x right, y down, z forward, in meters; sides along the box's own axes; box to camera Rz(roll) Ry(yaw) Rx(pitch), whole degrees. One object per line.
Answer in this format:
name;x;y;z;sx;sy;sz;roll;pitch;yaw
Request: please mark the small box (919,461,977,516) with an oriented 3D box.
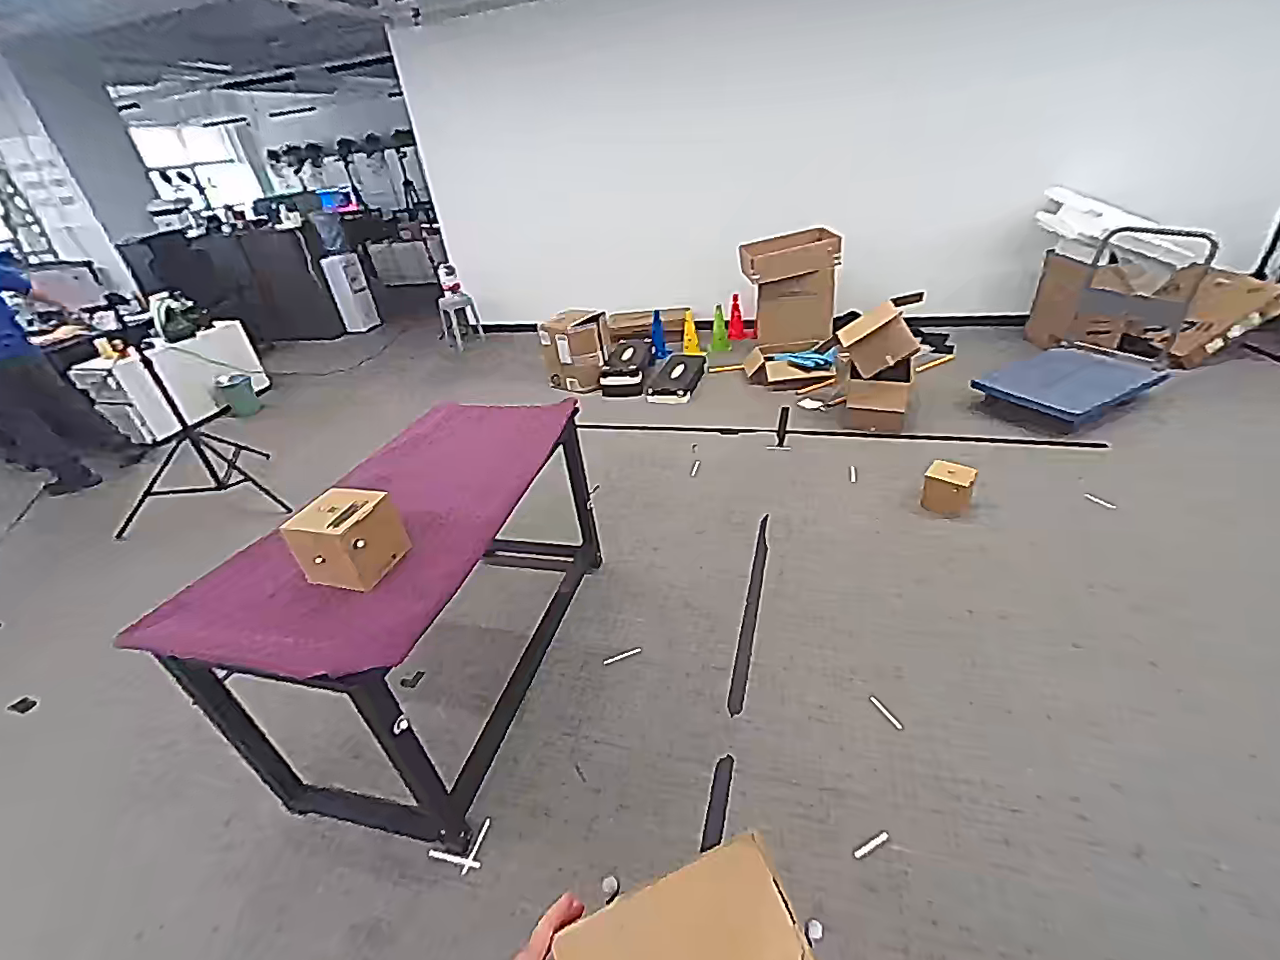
small box;1.381;0.041;2.428;0.179;0.176;0.168;21;41;36
